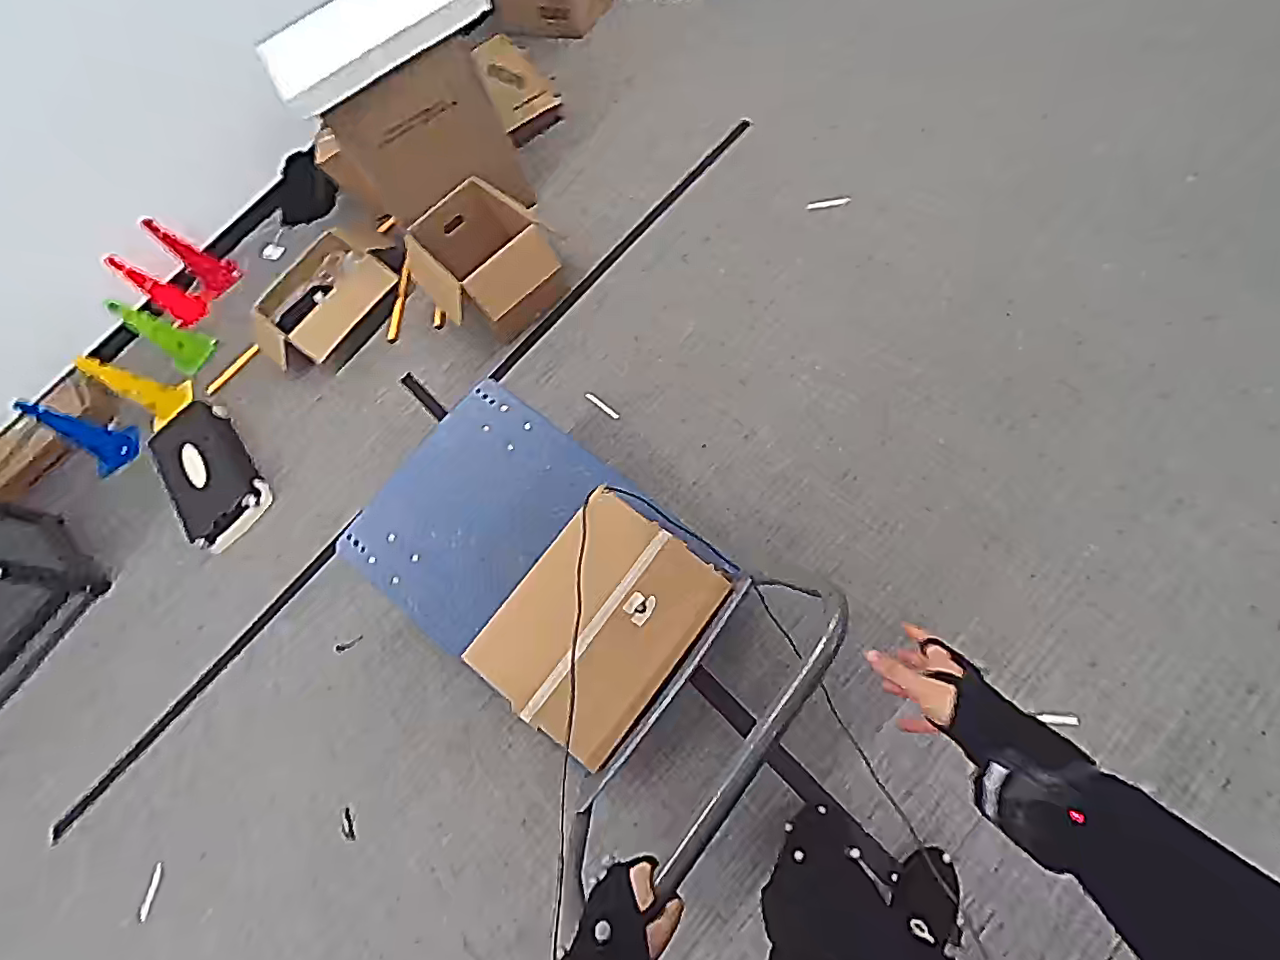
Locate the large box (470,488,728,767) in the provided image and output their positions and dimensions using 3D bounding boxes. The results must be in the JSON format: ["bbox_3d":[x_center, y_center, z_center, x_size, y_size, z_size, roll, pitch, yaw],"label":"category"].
[{"bbox_3d":[-0.071,0.292,1.131,0.320,0.320,0.408,37,80,8],"label":"large box"}]
